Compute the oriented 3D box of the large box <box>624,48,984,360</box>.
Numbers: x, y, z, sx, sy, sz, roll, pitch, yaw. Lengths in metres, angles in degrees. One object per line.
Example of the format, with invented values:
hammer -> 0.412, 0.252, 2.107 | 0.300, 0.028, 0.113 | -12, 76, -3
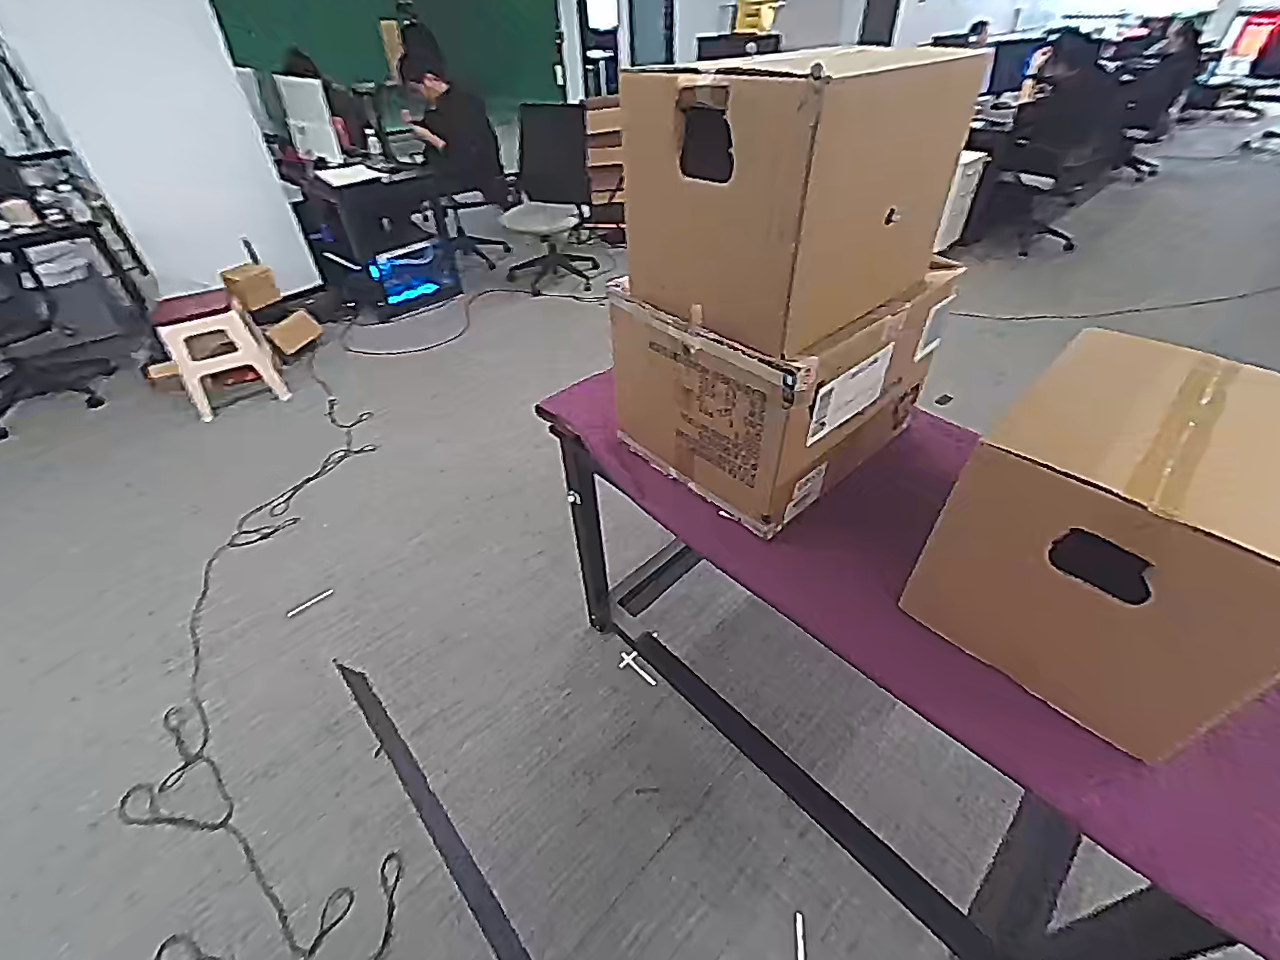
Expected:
large box -> 0.228, -0.431, 0.809 | 0.408, 0.320, 0.320 | -34, 48, -30
